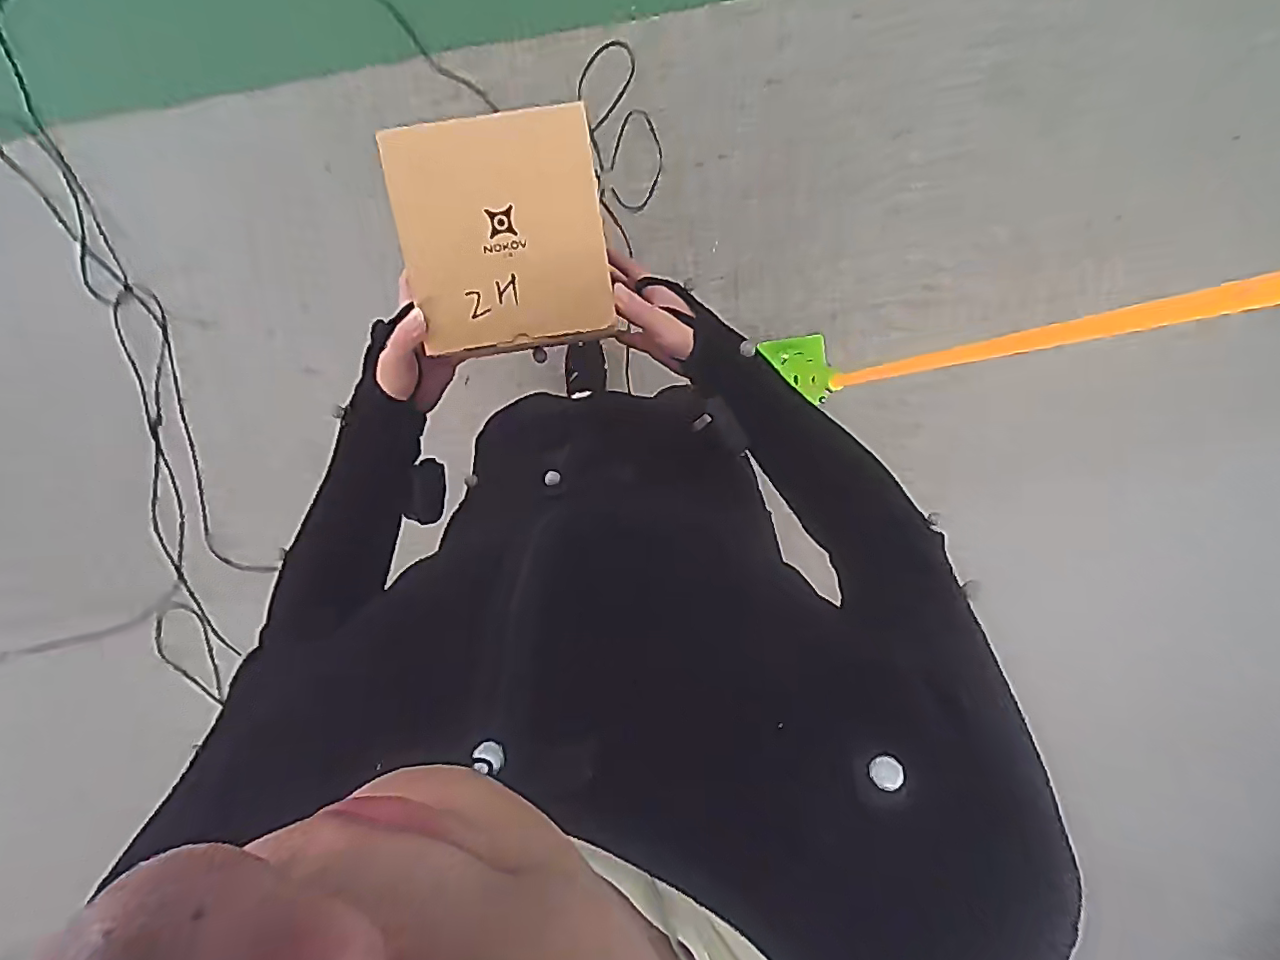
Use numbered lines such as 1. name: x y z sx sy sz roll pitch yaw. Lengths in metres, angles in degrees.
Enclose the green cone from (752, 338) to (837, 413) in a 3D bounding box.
1. green cone: 0.434 -0.264 1.404 0.202 0.368 0.200 -8 103 2
